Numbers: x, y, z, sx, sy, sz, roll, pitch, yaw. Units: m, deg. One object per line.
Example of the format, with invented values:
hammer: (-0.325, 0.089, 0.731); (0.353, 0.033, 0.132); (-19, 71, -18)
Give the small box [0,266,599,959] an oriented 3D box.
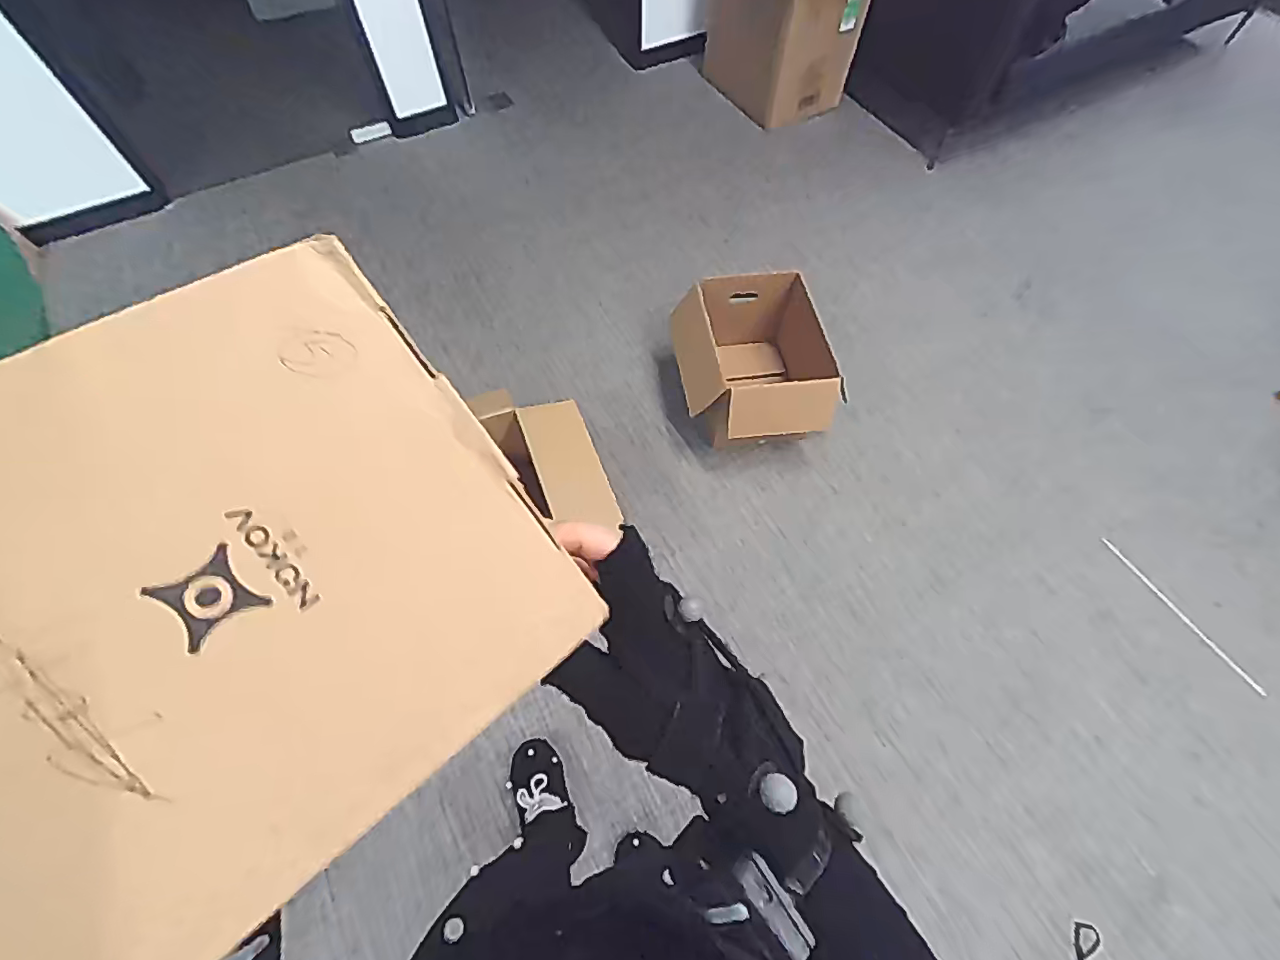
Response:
small box: (-0.152, 0.047, 0.237); (0.179, 0.176, 0.168); (-37, 96, -22)
